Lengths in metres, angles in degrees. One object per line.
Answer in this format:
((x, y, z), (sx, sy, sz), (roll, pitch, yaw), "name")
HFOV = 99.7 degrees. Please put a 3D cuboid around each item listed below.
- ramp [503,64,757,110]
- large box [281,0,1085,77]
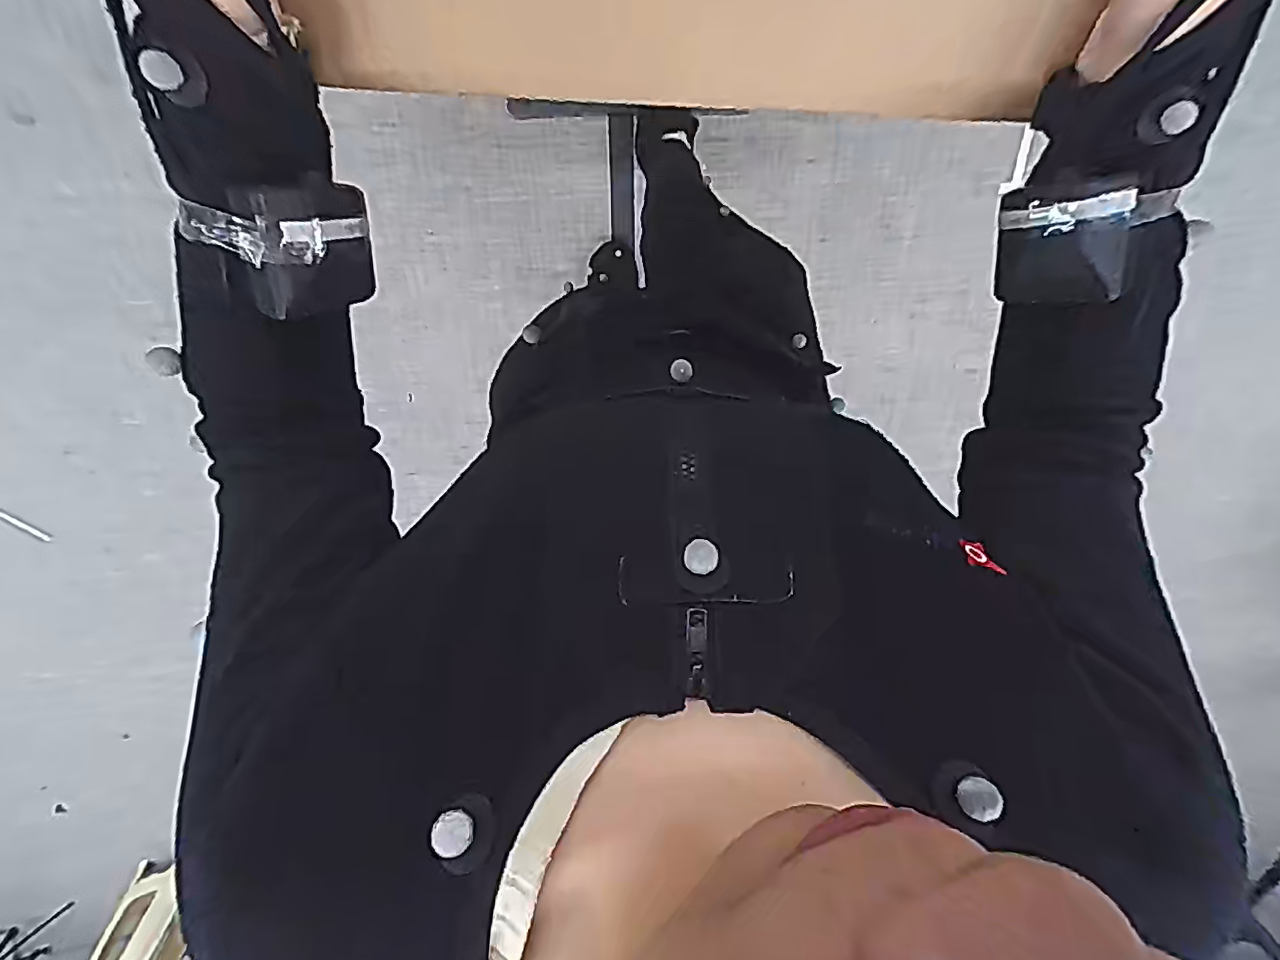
((-0.017, -1.119, 0.749), (0.509, 0.206, 0.991), (-5, 120, -3), "ramp")
((0.023, -0.428, 0.244), (0.408, 0.320, 0.320), (0, 147, -4), "large box")
